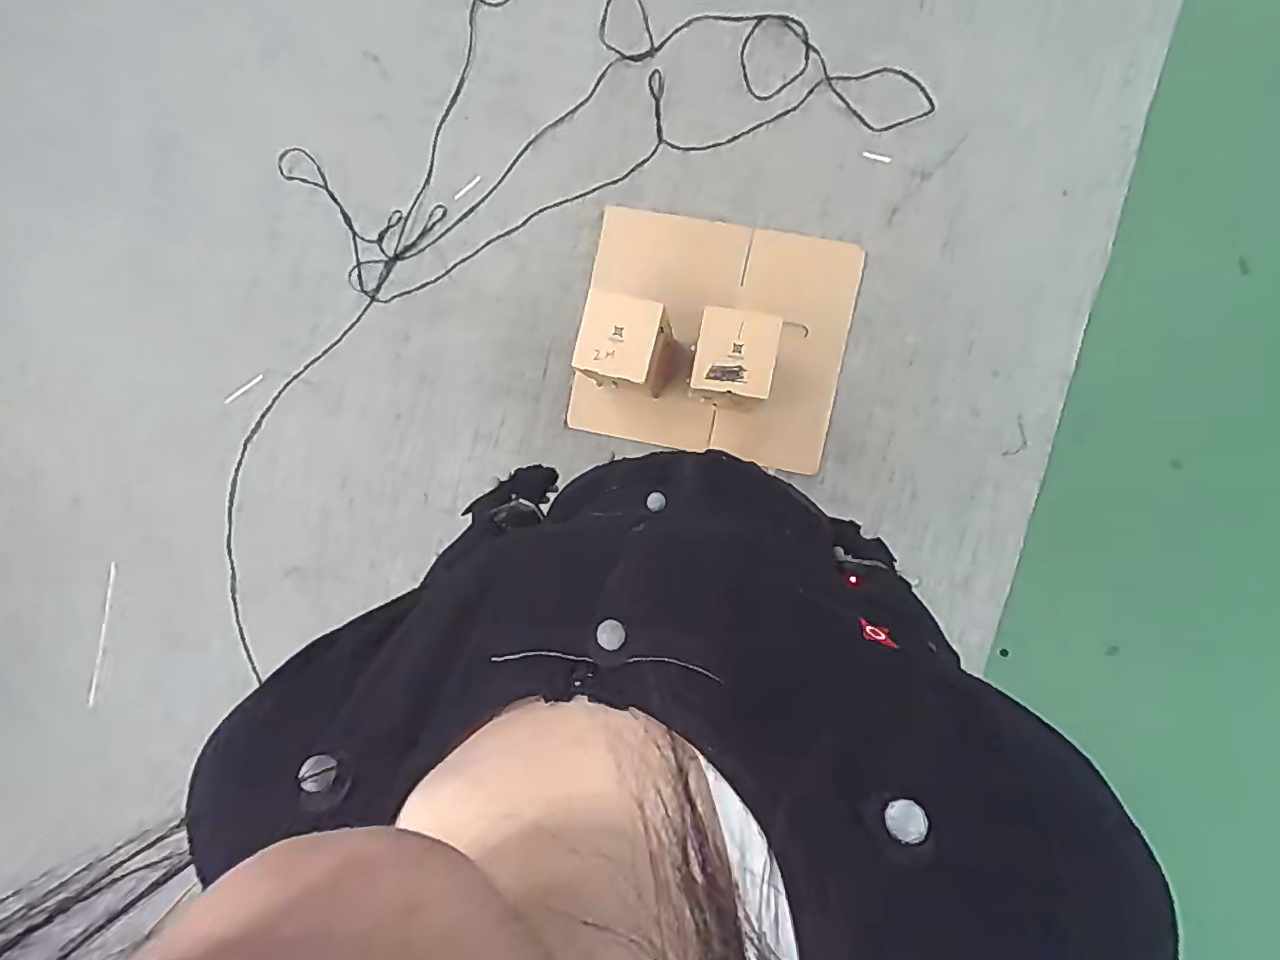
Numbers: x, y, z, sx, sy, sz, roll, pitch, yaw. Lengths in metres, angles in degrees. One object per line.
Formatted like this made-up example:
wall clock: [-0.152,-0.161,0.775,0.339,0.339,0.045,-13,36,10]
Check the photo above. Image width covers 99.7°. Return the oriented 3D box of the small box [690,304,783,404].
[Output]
small box: [0.208,-0.270,1.197,0.168,0.176,0.179,10,94,5]

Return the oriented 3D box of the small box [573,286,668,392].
small box: [-0.037,-0.309,1.218,0.168,0.176,0.179,15,95,6]

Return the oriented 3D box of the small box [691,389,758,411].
small box: [0.222,-0.277,1.361,0.168,0.176,0.179,11,95,5]
